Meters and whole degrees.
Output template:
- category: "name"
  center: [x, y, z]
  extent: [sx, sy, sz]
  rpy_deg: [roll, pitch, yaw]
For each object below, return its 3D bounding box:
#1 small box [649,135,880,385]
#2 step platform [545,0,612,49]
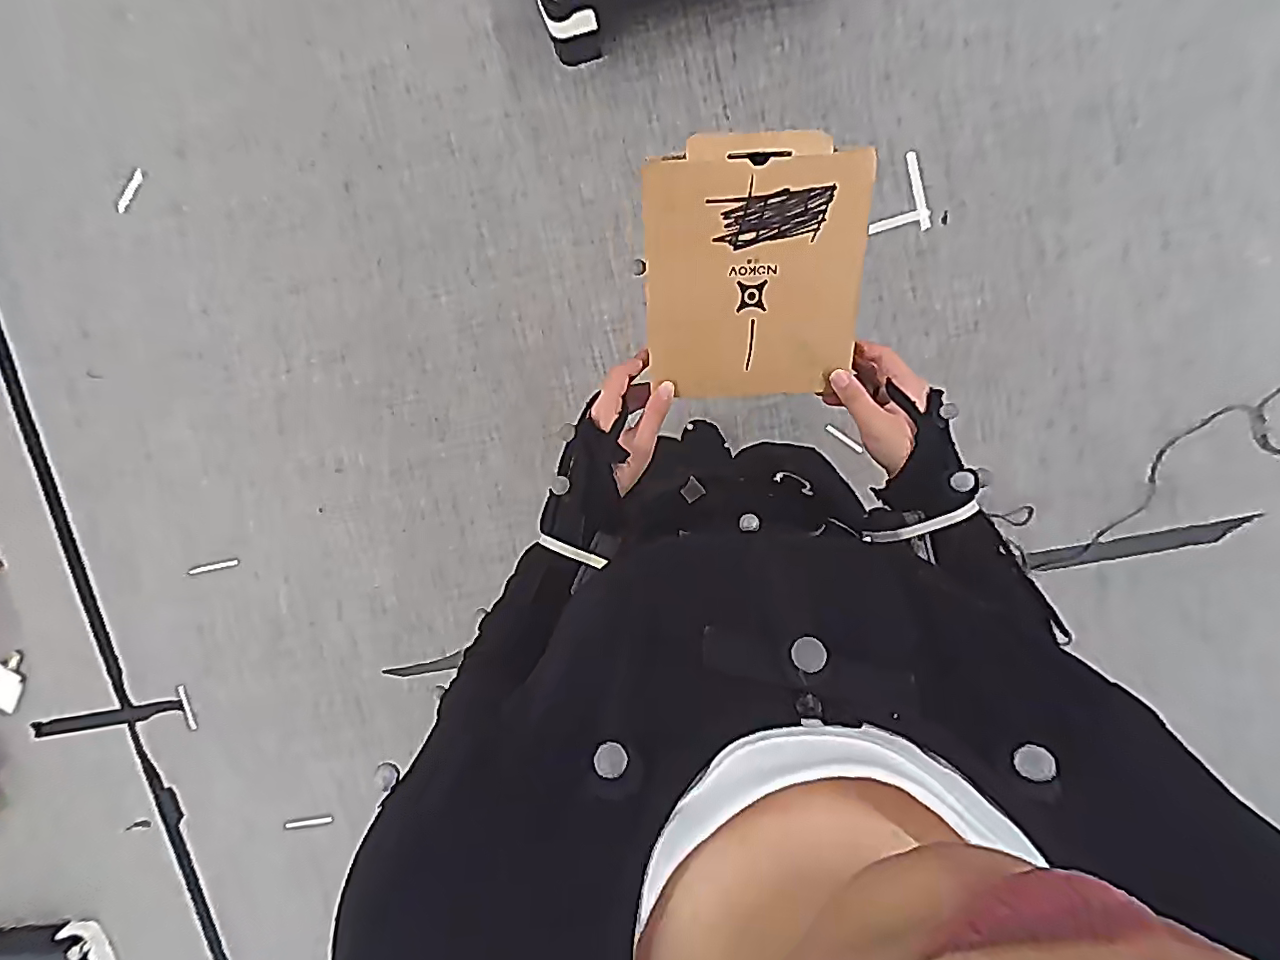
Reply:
- category: "small box"
  center: [0.091, -0.192, 0.486]
  extent: [0.168, 0.176, 0.179]
  rpy_deg: [-1, 115, 2]
- category: "step platform"
  center: [0.101, -1.193, 1.126]
  extent: [0.684, 0.204, 0.286]
  rpy_deg: [-13, 95, 7]
